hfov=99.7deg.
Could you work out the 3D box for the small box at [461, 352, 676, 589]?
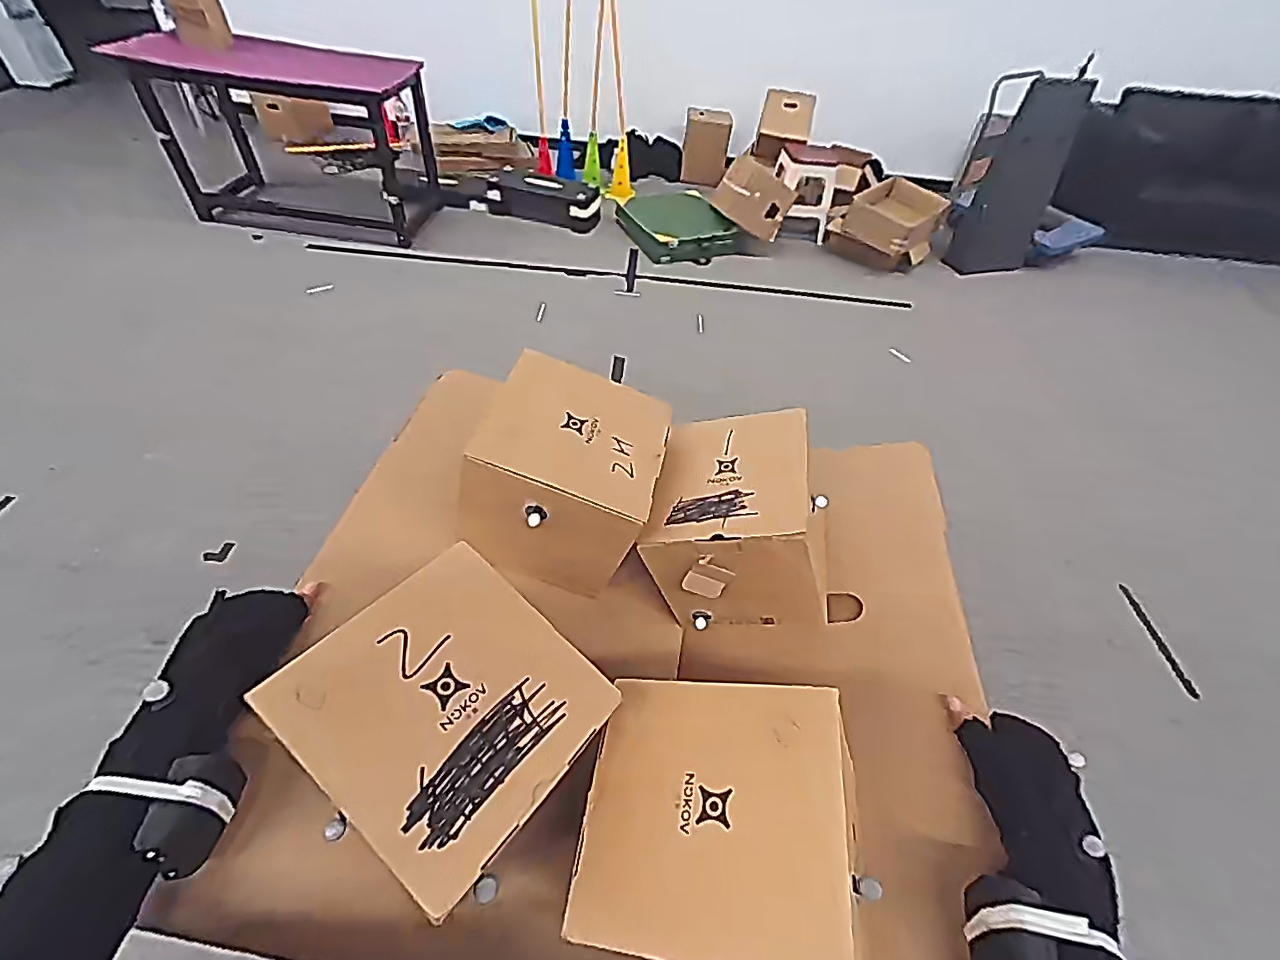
[{"bbox_3d":[-0.083,-0.002,0.598,0.179,0.176,0.168,22,49,-7],"label":"small box"}]
